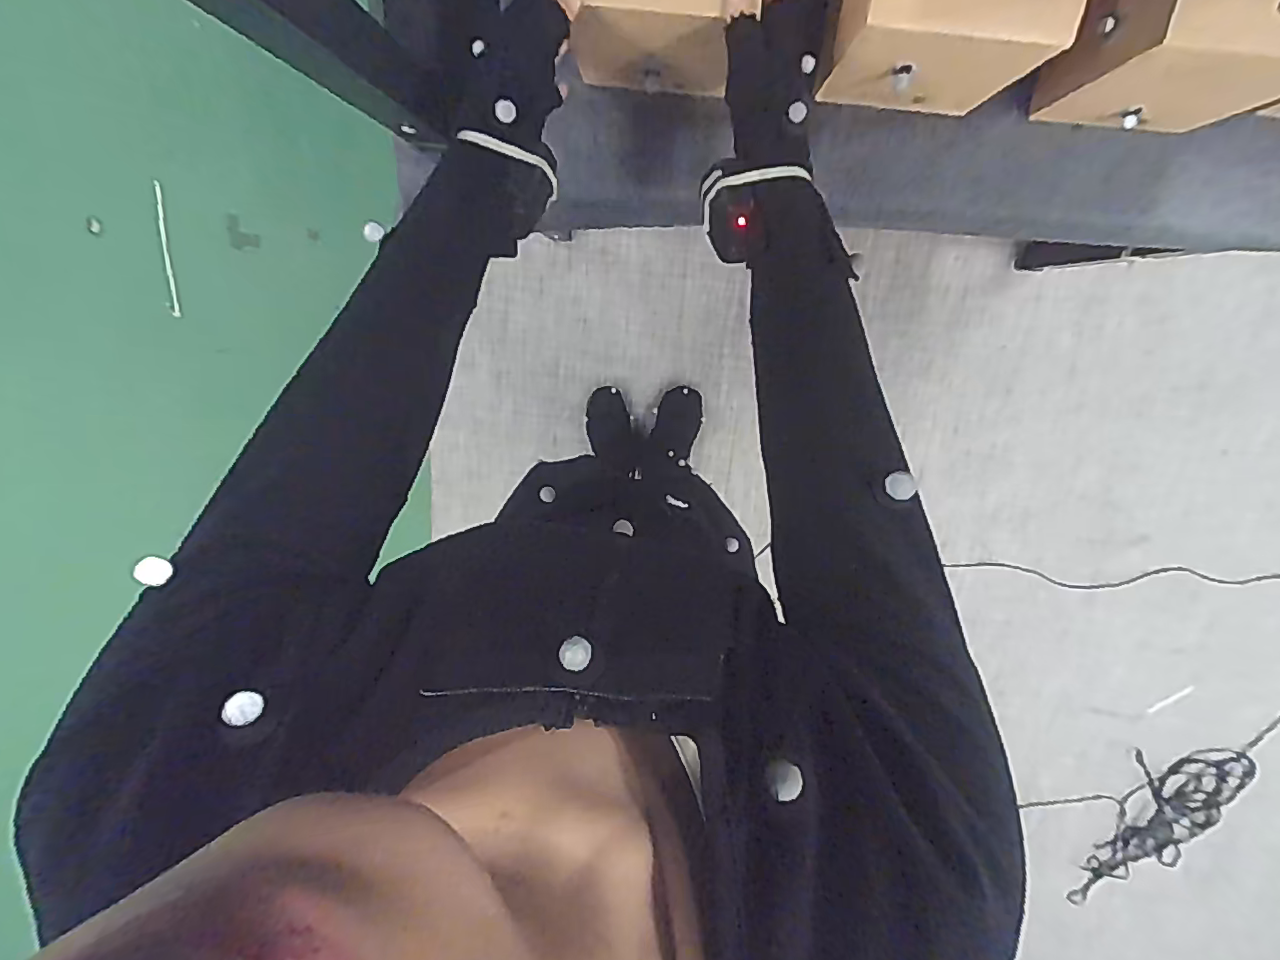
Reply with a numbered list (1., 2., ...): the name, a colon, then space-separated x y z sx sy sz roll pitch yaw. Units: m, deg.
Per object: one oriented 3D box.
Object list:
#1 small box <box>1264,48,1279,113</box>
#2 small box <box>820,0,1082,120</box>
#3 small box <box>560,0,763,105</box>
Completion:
1. small box: 0.723 -0.423 0.462 0.168 0.176 0.179 8 106 1
2. small box: 0.272 -0.450 0.483 0.168 0.176 0.179 7 106 2
3. small box: 0.027 -0.476 0.487 0.168 0.176 0.179 7 108 1
